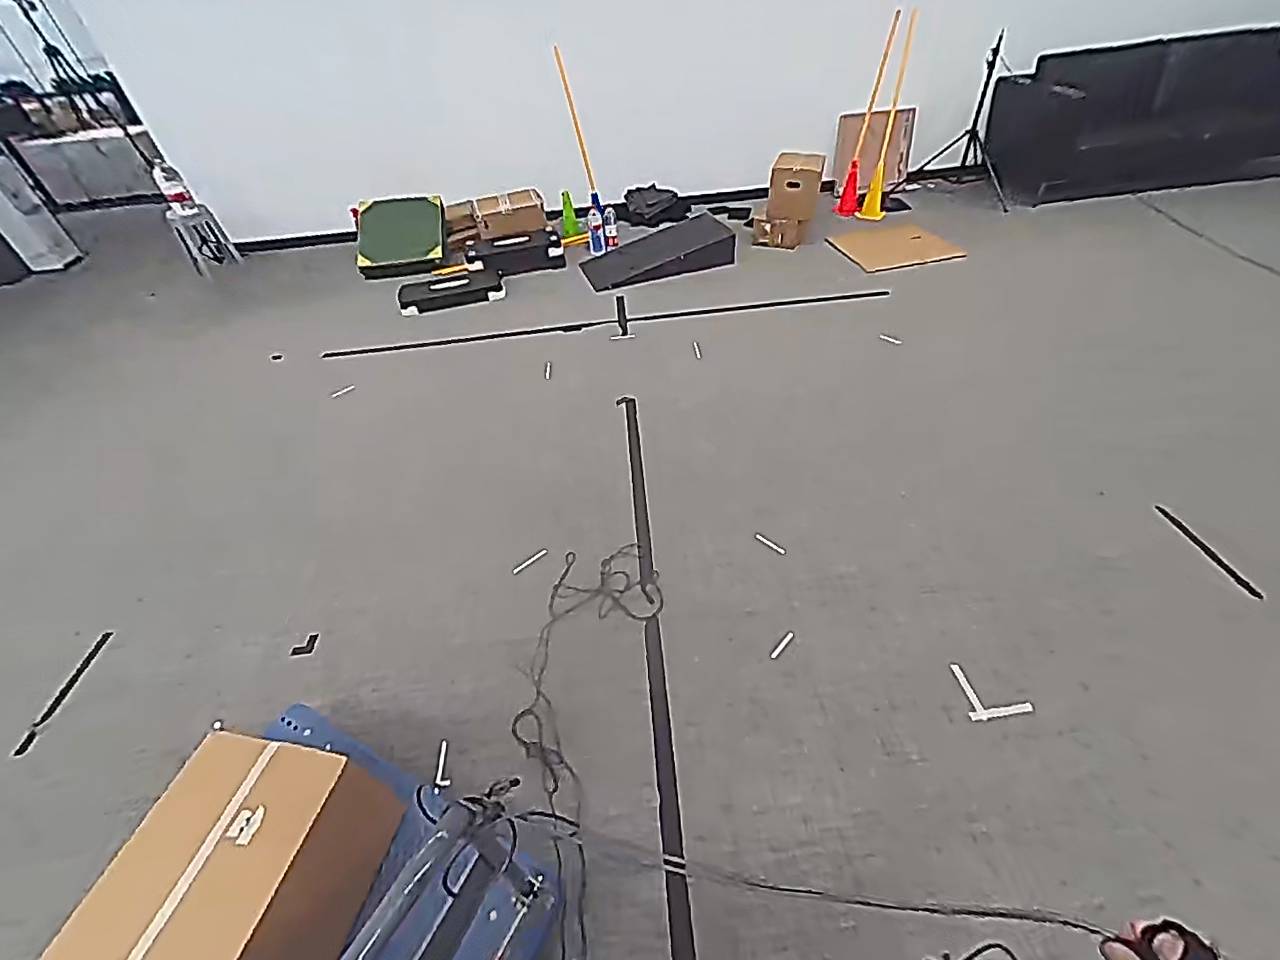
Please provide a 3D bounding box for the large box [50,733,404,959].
[{"bbox_3d":[-0.723,0.759,1.011,0.320,0.320,0.408,6,44,11],"label":"large box"}]
